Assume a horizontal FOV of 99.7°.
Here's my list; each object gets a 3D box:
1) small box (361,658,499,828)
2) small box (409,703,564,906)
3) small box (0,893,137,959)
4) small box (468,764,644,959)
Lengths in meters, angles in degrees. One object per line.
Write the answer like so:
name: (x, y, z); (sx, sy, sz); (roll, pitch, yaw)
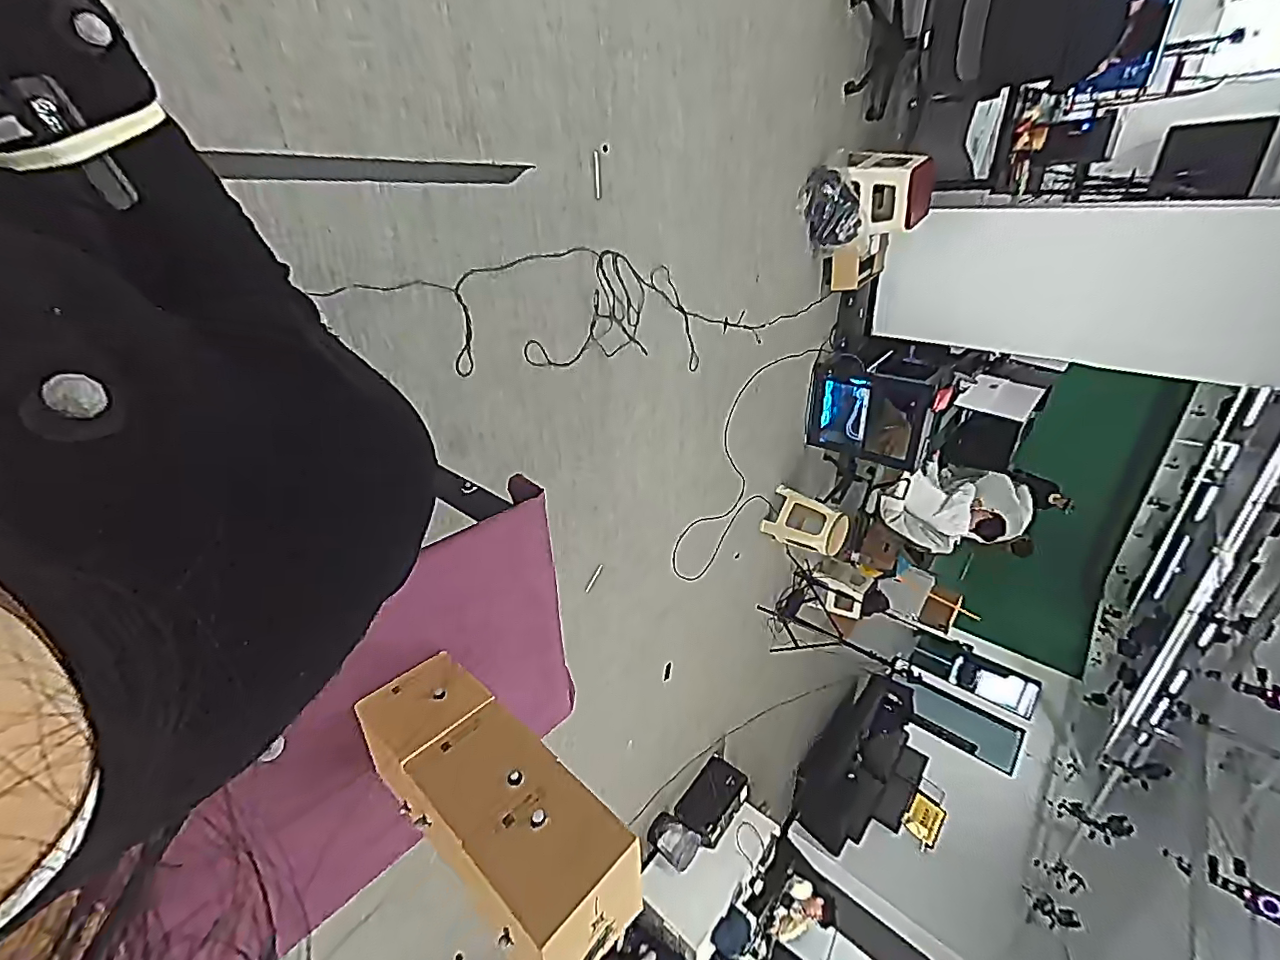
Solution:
small box: (-0.354, 0.437, 0.935); (0.168, 0.176, 0.179); (-28, 127, -41)
small box: (-0.231, 0.490, 0.840); (0.168, 0.176, 0.179); (-28, 129, -41)
small box: (-0.687, 0.632, 0.612); (0.168, 0.176, 0.179); (-23, 124, -45)
small box: (-0.111, 0.538, 0.738); (0.168, 0.176, 0.179); (-27, 127, -41)
